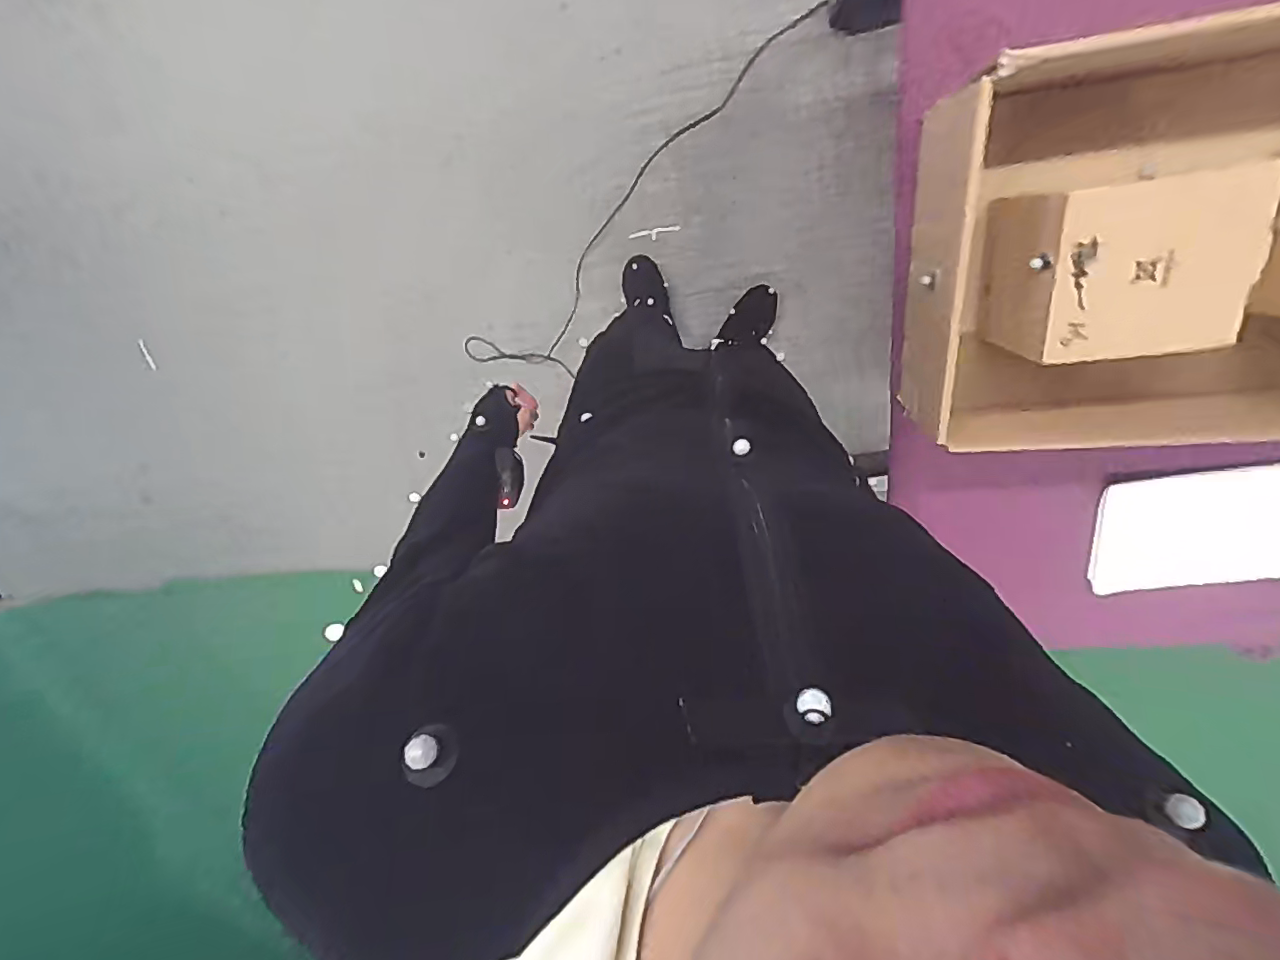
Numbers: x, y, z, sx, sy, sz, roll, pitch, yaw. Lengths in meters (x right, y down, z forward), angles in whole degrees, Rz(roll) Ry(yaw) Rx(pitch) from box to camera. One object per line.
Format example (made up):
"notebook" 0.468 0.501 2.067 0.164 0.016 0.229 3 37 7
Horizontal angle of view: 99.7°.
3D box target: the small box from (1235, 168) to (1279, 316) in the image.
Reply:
"small box" 0.780 -0.253 0.536 0.179 0.176 0.168 -4 114 13
